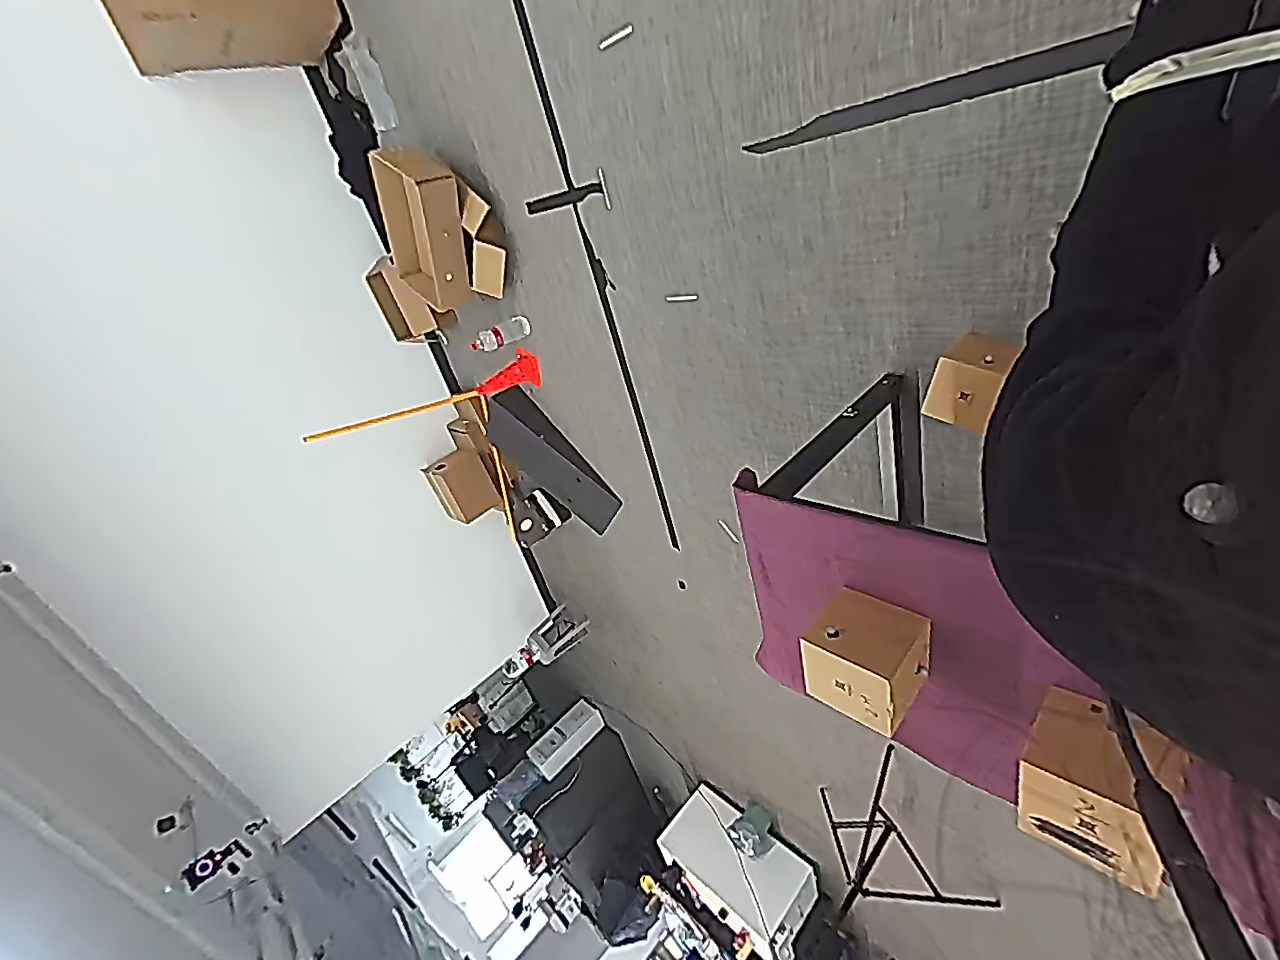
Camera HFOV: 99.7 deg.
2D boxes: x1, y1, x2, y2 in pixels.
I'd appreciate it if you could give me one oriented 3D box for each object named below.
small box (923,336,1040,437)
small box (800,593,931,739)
[{"bbox_3d":[0.845,-0.239,1.342,0.179,0.176,0.168,30,140,32],"label":"small box"},{"bbox_3d":[0.433,0.345,1.042,0.179,0.176,0.168,17,134,44],"label":"small box"}]
